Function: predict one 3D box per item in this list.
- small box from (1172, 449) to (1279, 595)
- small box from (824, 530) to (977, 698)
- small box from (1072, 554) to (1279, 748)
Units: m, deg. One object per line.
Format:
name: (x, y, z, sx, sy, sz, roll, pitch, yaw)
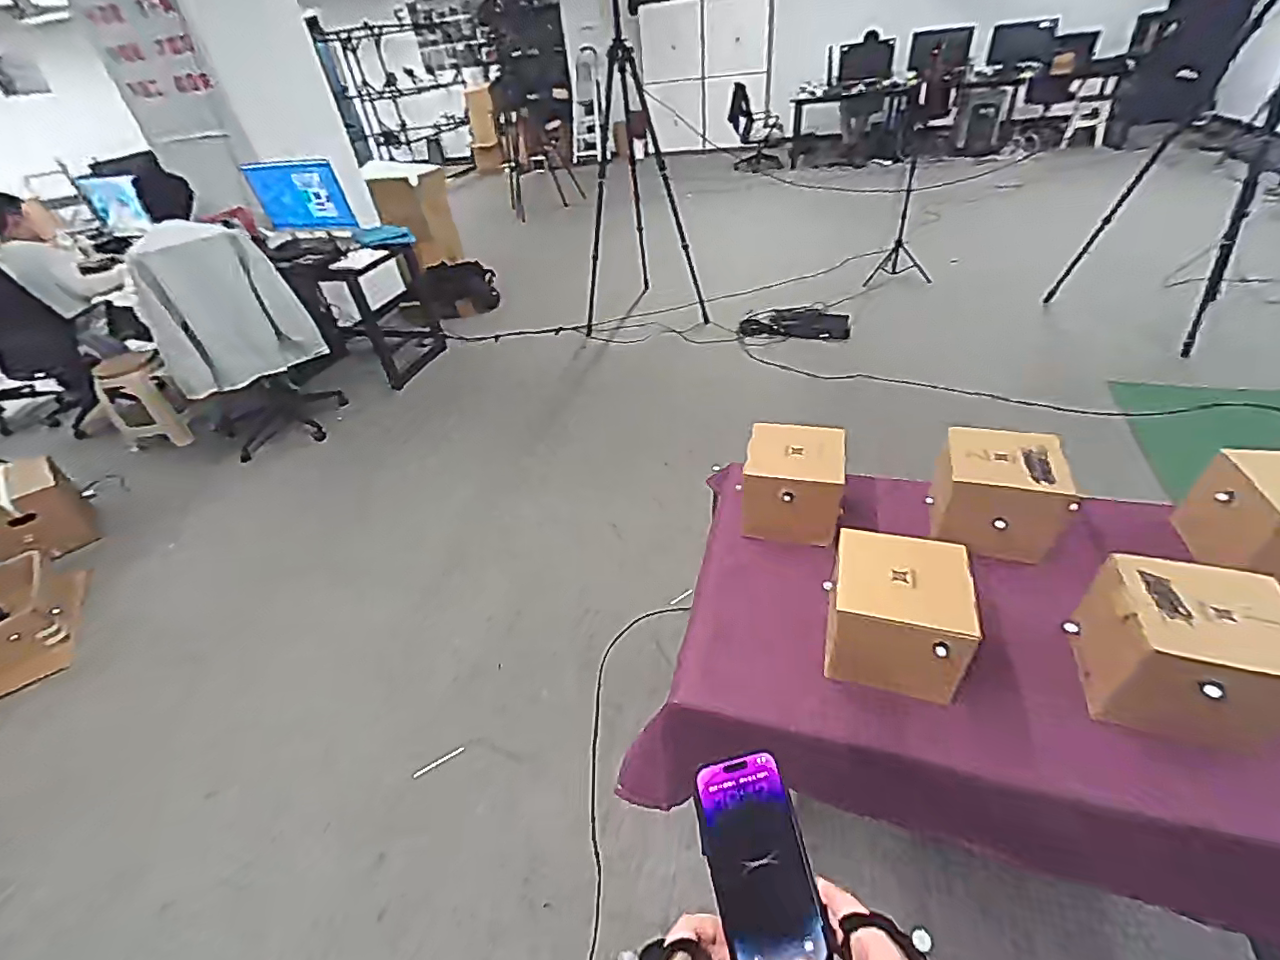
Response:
small box: (1.019, 0.072, 0.864, 0.168, 0.176, 0.179, 4, 41, 15)
small box: (0.380, 0.202, 0.817, 0.179, 0.176, 0.168, 8, 41, 17)
small box: (0.720, 0.228, 0.725, 0.179, 0.176, 0.168, 9, 42, 19)
